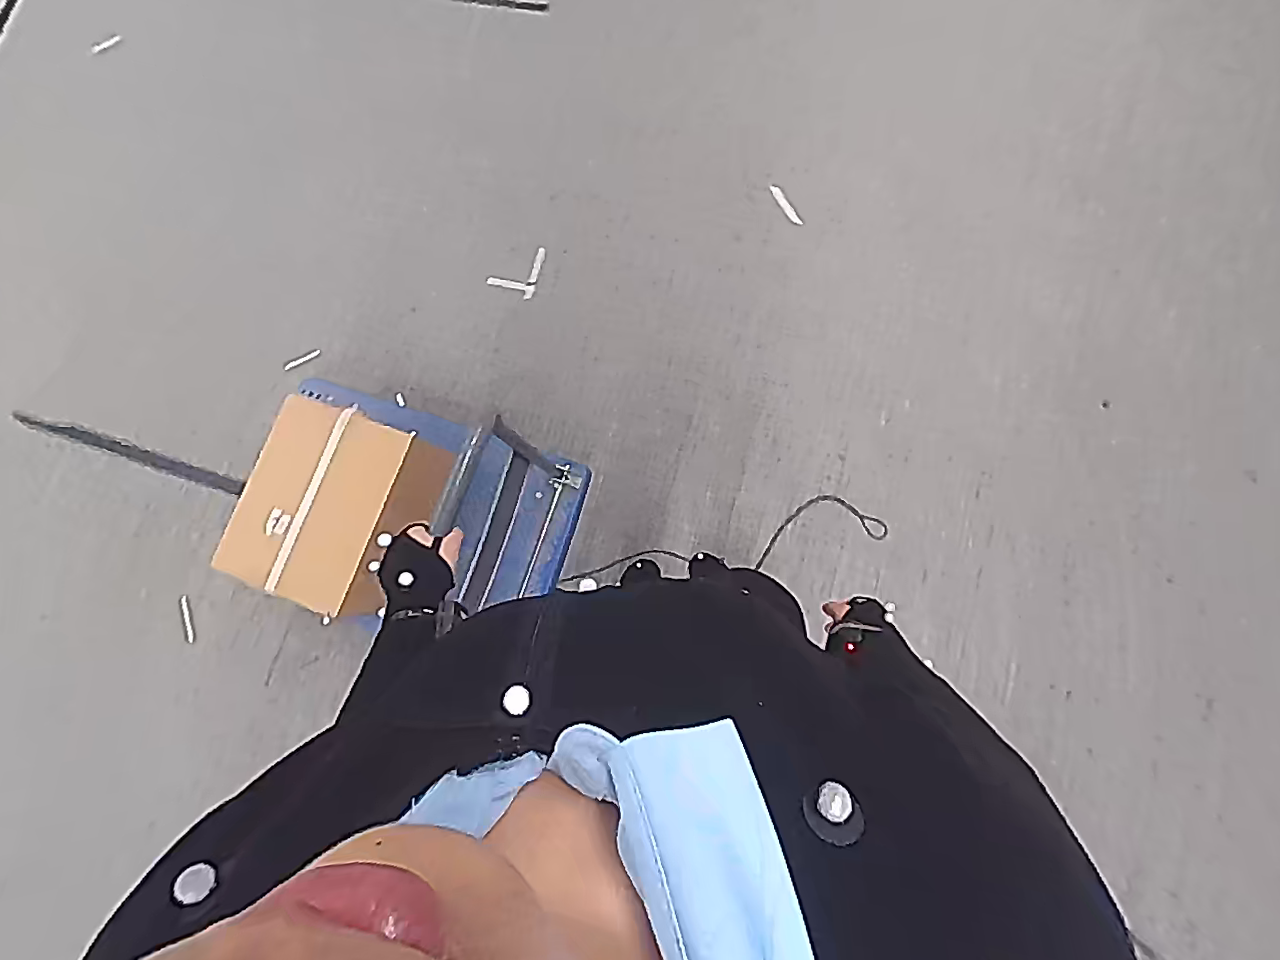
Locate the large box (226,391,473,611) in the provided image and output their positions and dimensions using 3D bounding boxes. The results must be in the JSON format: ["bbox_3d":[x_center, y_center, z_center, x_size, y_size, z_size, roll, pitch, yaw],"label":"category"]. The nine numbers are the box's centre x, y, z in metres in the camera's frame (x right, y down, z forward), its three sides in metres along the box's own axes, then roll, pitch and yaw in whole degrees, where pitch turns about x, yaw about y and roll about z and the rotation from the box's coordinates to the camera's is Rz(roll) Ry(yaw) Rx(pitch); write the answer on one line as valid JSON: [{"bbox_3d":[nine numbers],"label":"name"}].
[{"bbox_3d":[-0.657,0.054,1.288,0.320,0.320,0.408,20,84,10],"label":"large box"}]
